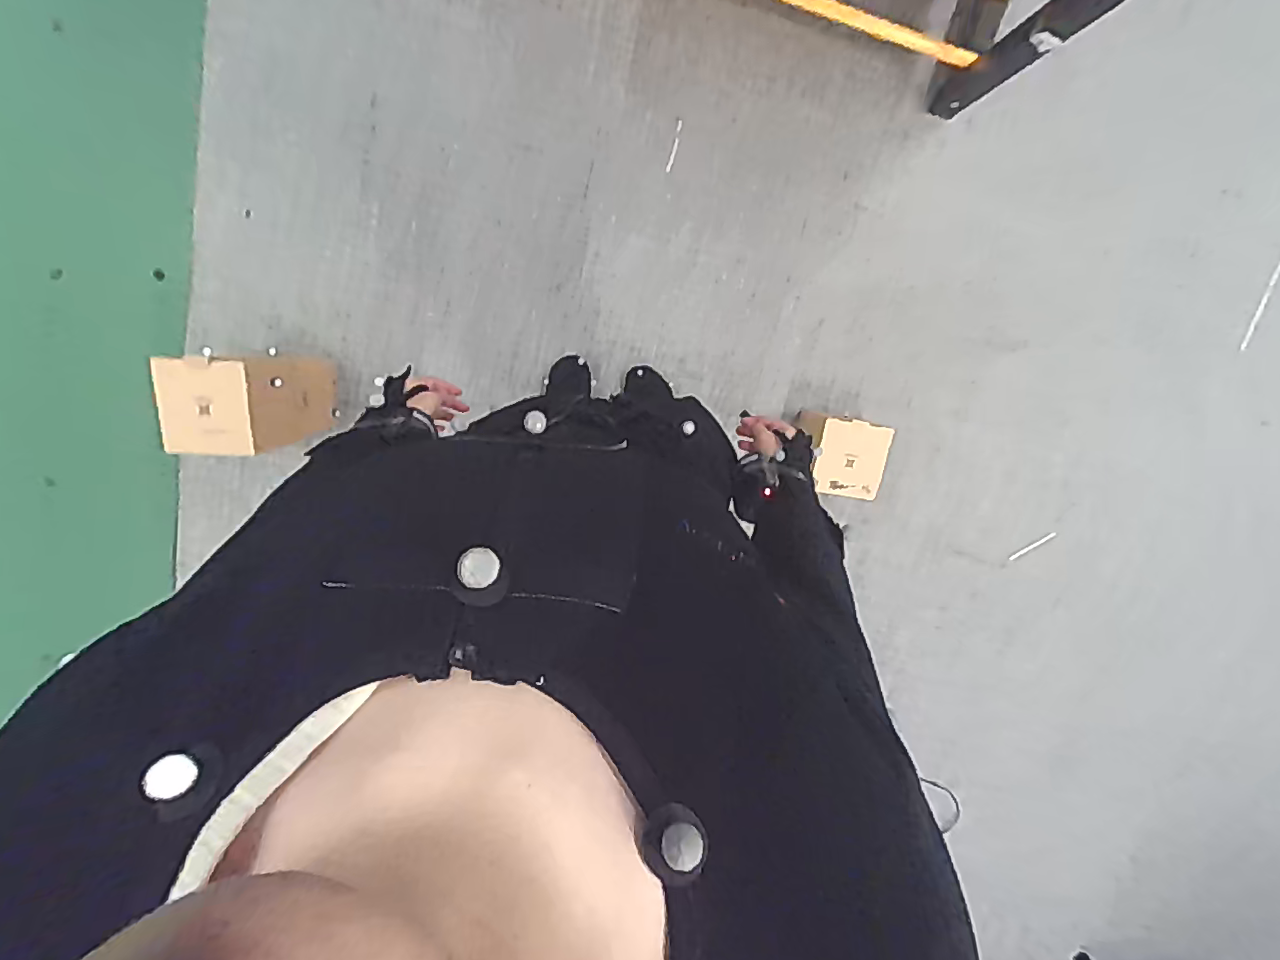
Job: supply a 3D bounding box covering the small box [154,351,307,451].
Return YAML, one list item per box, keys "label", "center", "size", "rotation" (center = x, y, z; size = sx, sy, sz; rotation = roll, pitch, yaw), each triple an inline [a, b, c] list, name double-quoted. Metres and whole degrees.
- label: "small box"
  center: [-0.788, -0.161, 1.060]
  size: [0.168, 0.176, 0.179]
  rotation: [2, 105, -2]

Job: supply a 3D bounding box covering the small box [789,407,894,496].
- label: "small box"
  center: [0.479, -0.076, 1.314]
  size: [0.168, 0.176, 0.179]
  rotation: [9, 103, -5]

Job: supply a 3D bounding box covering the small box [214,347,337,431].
- label: "small box"
  center: [-0.803, -0.208, 1.215]
  size: [0.179, 0.176, 0.168]
  rotation: [4, 104, -3]
